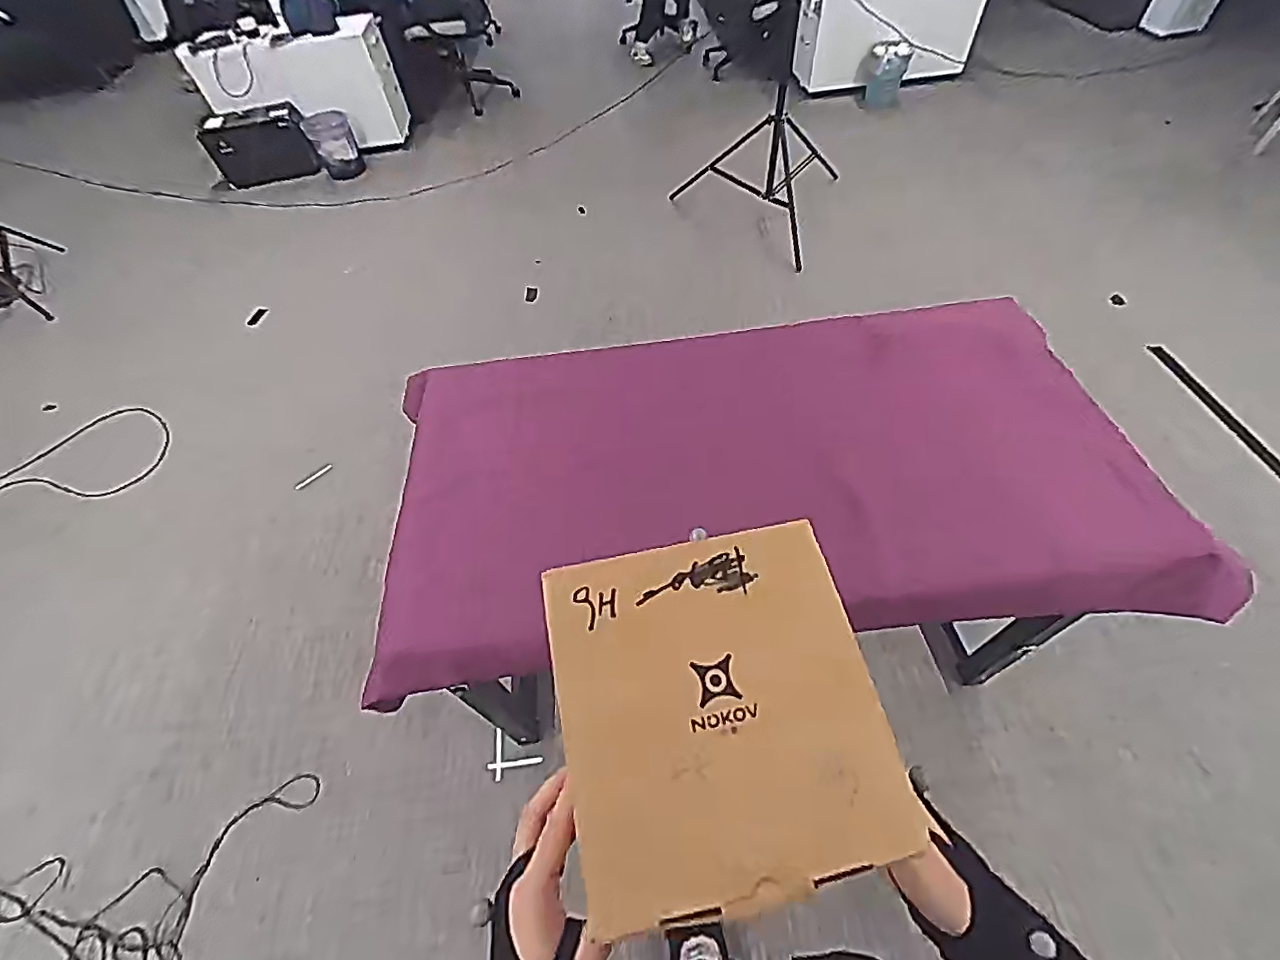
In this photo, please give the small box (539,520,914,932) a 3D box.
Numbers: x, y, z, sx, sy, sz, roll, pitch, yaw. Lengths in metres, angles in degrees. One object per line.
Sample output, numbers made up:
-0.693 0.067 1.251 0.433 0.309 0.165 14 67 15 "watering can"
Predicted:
0.036 0.147 0.357 0.168 0.176 0.179 -10 65 -6 "small box"
